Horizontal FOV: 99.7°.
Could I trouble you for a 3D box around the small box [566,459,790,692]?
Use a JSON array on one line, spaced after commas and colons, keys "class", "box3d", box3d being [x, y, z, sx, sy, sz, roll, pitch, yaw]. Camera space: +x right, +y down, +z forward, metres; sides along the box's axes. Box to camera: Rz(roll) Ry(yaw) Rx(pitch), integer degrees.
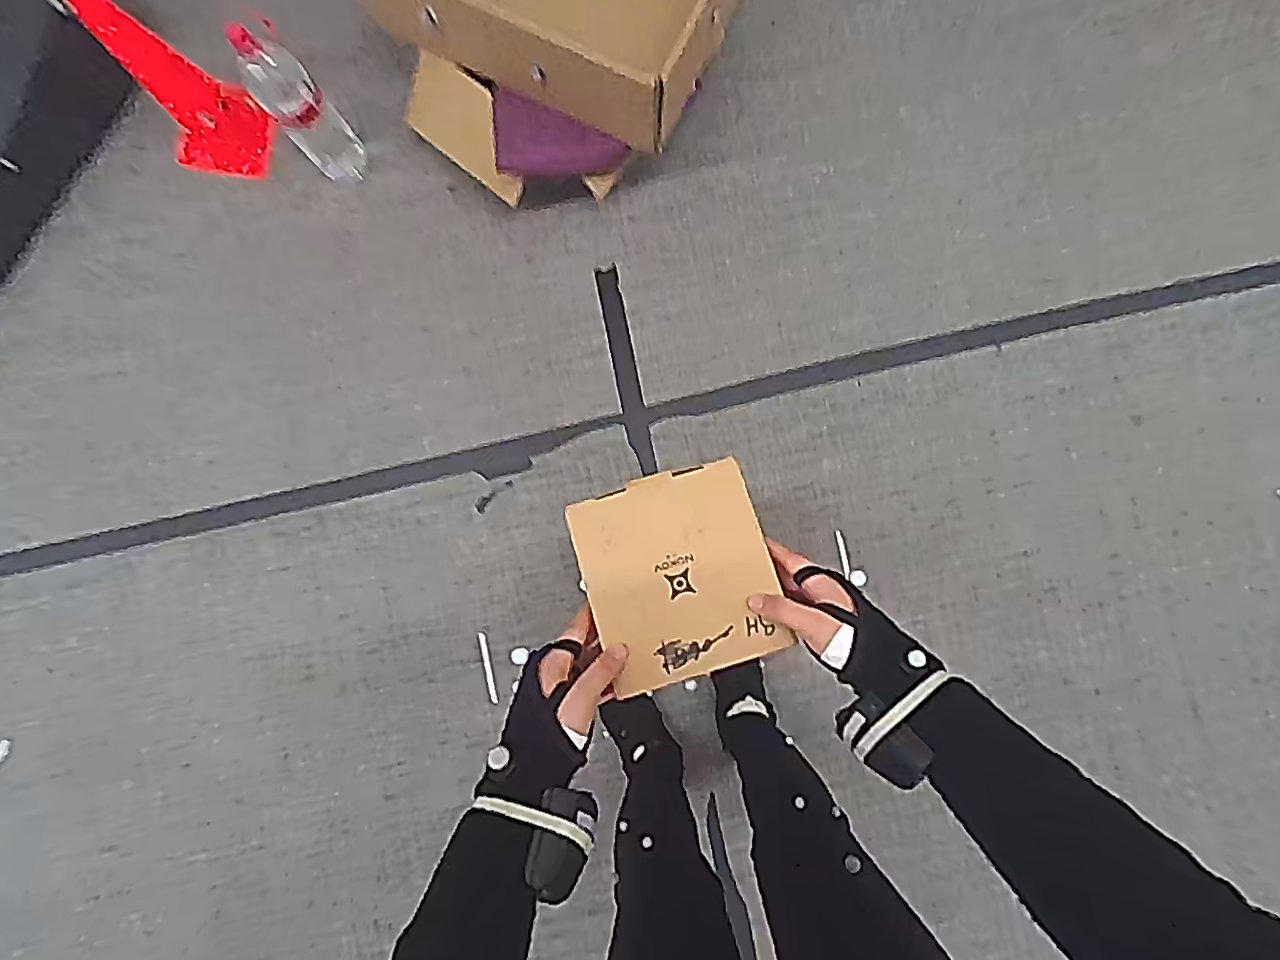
[{"class": "small box", "box3d": [0.034, 0.100, 0.568, 0.168, 0.176, 0.179, -18, 78, 0]}]
